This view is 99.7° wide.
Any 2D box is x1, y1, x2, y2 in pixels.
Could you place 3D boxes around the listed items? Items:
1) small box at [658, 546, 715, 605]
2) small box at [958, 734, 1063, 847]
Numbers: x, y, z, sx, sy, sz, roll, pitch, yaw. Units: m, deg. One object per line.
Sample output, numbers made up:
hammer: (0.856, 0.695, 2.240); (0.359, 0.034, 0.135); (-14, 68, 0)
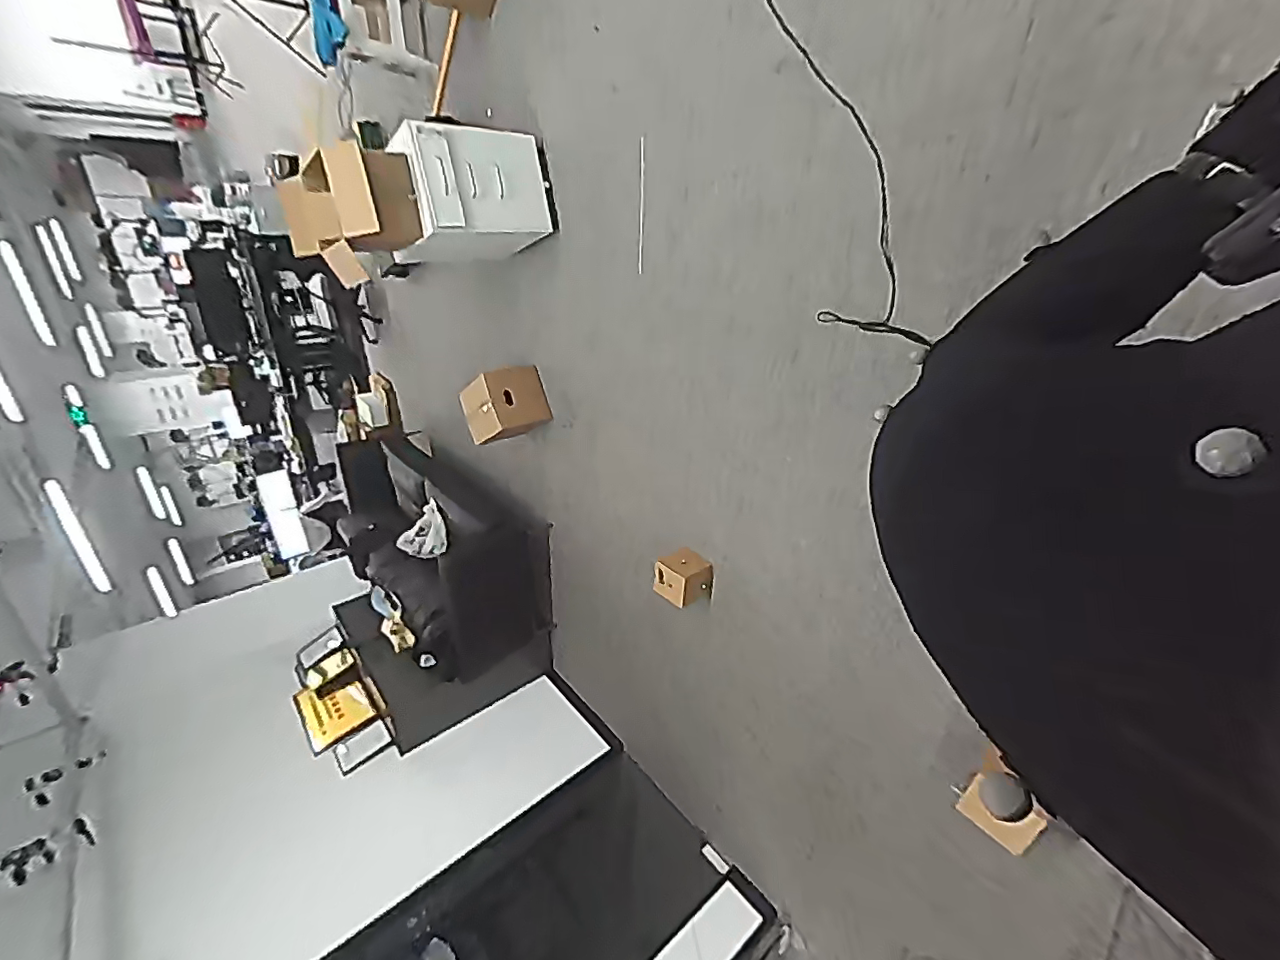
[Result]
small box: (0.199, 0.407, 2.352); (0.179, 0.176, 0.168); (29, 128, 41)
small box: (1.025, 0.851, 1.494); (0.168, 0.176, 0.179); (34, 131, 38)
